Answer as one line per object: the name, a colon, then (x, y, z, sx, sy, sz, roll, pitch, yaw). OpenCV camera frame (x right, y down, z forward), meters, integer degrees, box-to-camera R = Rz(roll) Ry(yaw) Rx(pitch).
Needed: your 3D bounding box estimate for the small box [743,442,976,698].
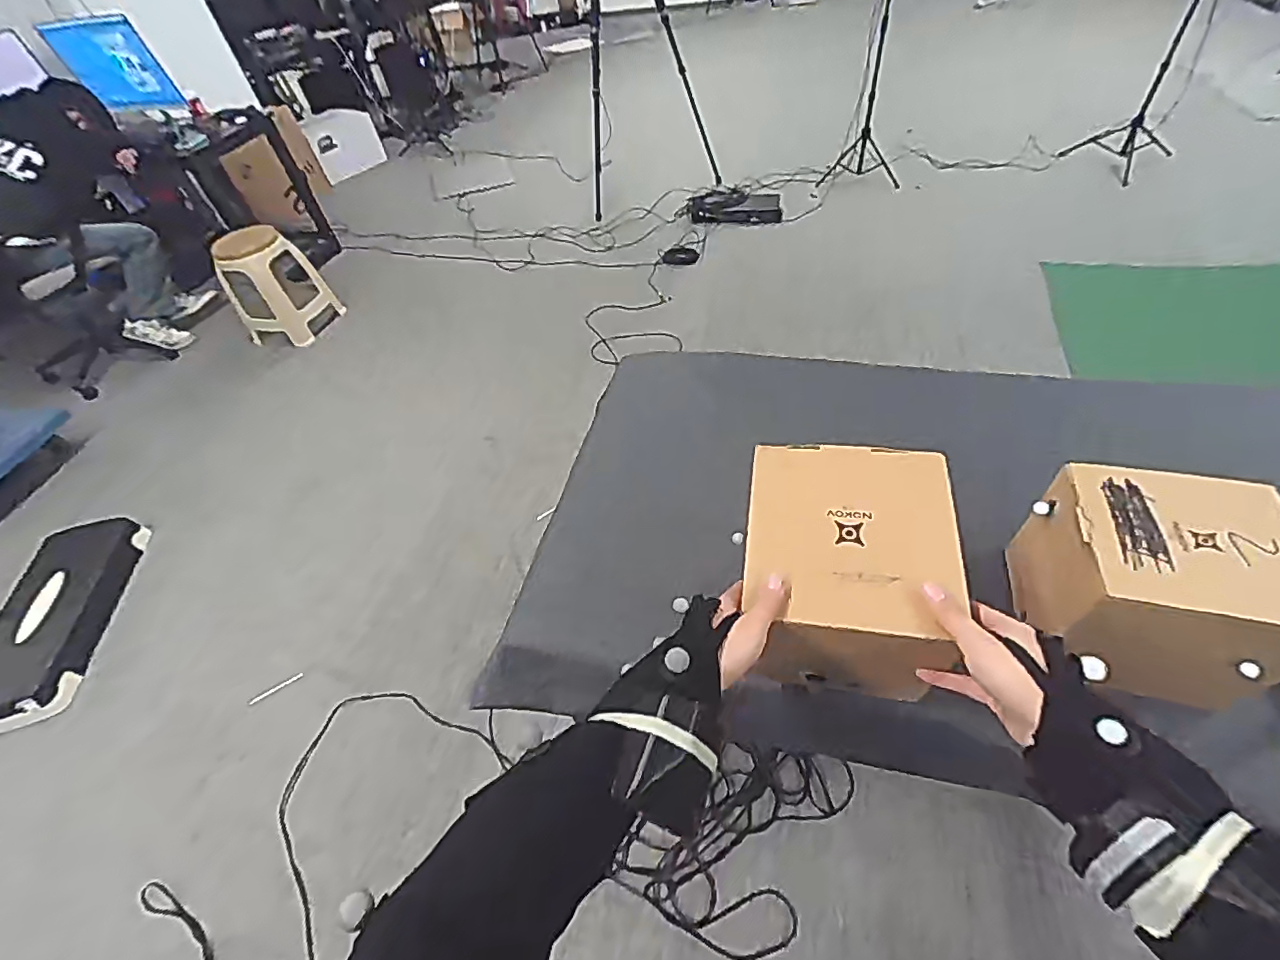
small box: (0.186, 0.085, 0.508, 0.168, 0.176, 0.179, 3, 56, 14)
